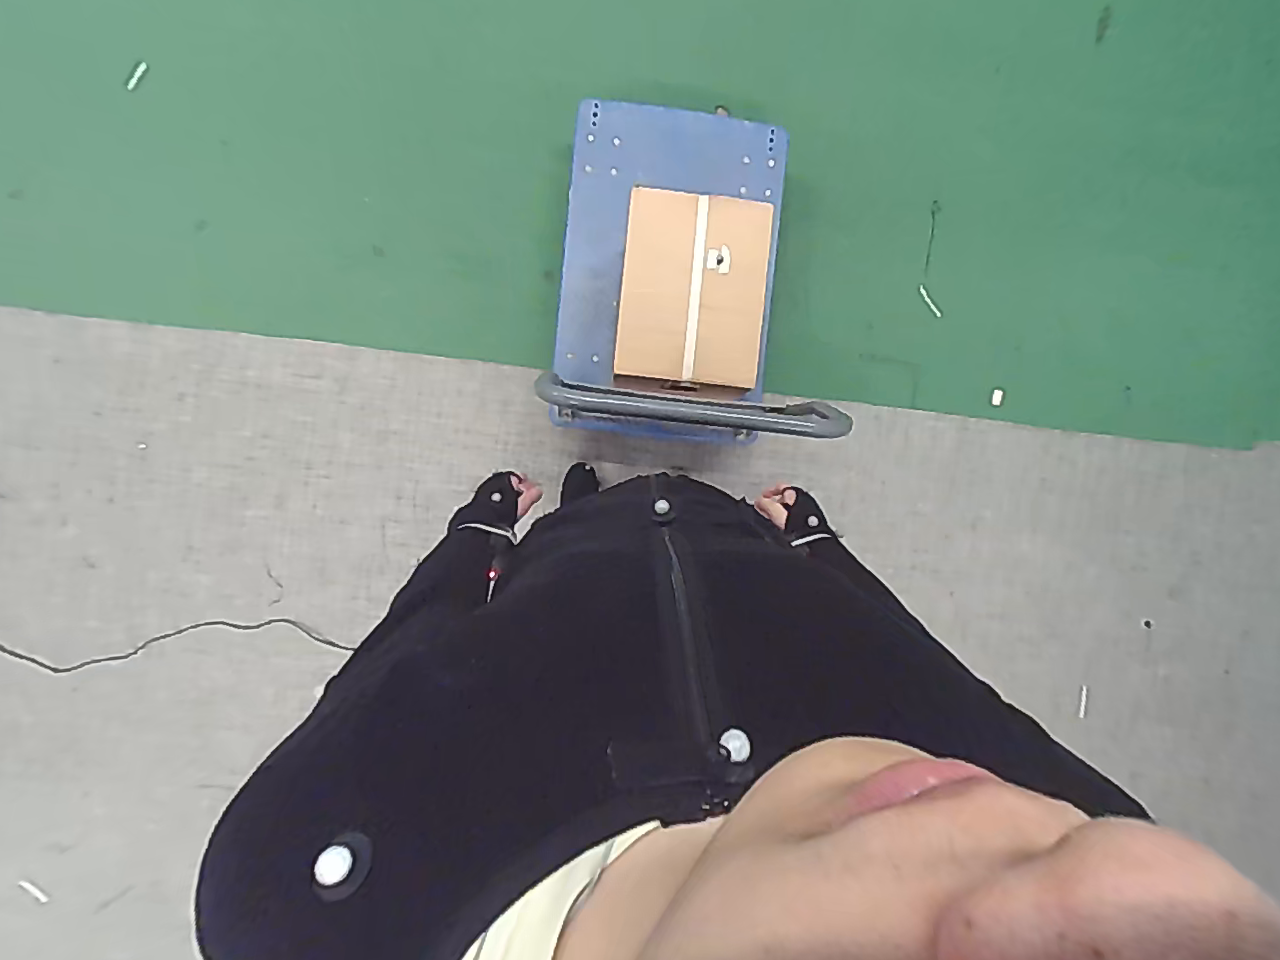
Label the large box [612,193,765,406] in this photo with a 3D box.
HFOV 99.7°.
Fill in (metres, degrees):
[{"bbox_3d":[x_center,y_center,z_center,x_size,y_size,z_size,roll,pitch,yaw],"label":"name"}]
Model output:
[{"bbox_3d":[0.098,-0.406,1.314,0.320,0.320,0.408,5,89,-5],"label":"large box"}]
